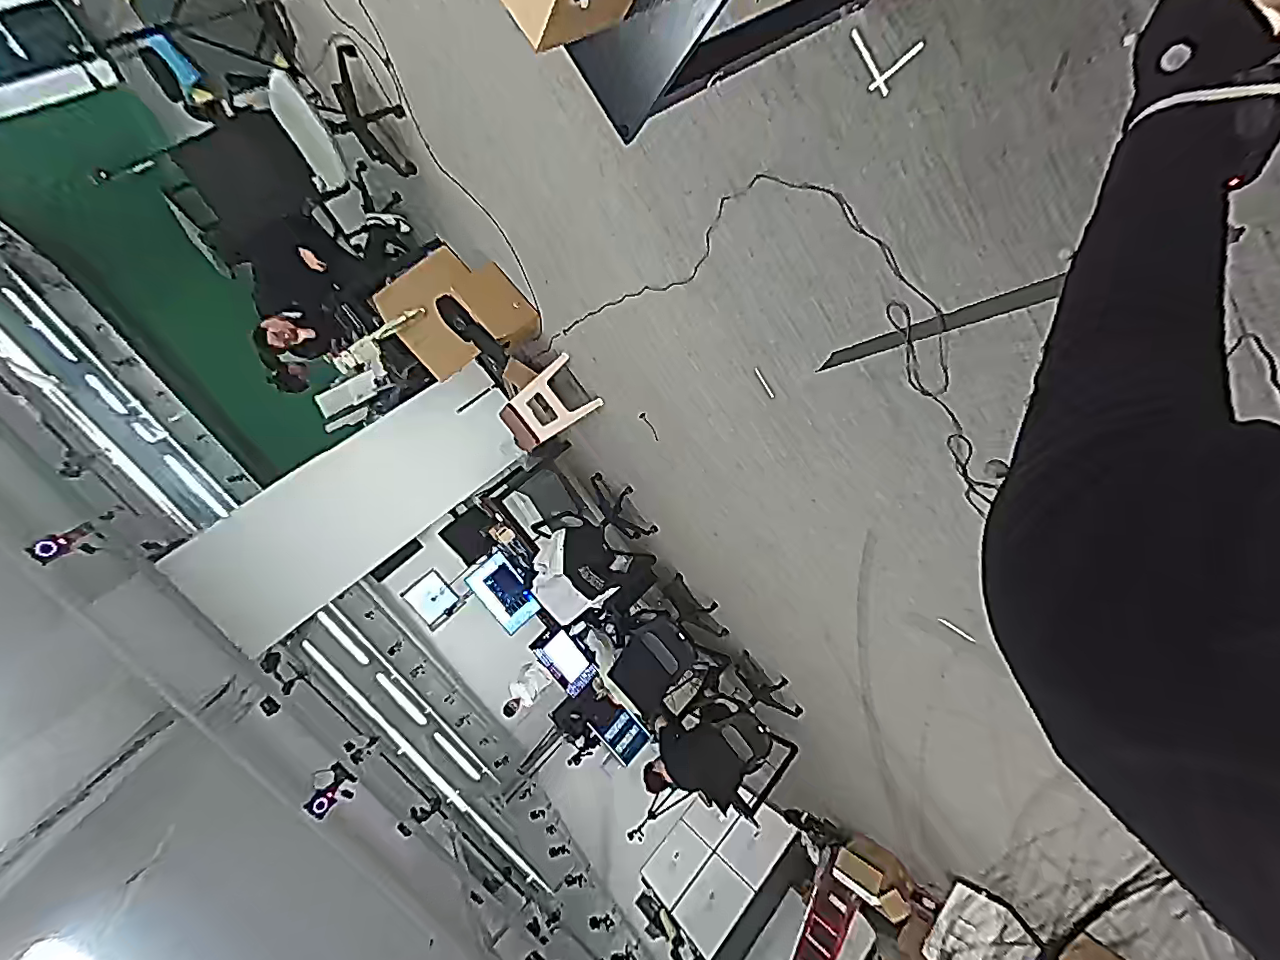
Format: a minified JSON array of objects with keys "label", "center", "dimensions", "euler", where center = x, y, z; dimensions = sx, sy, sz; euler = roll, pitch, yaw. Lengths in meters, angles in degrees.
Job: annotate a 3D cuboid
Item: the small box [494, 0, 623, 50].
[{"label":"small box","center":[-0.094,-0.662,0.626],"dimensions":[0.168,0.176,0.179],"euler":[54,156,-15]}]
